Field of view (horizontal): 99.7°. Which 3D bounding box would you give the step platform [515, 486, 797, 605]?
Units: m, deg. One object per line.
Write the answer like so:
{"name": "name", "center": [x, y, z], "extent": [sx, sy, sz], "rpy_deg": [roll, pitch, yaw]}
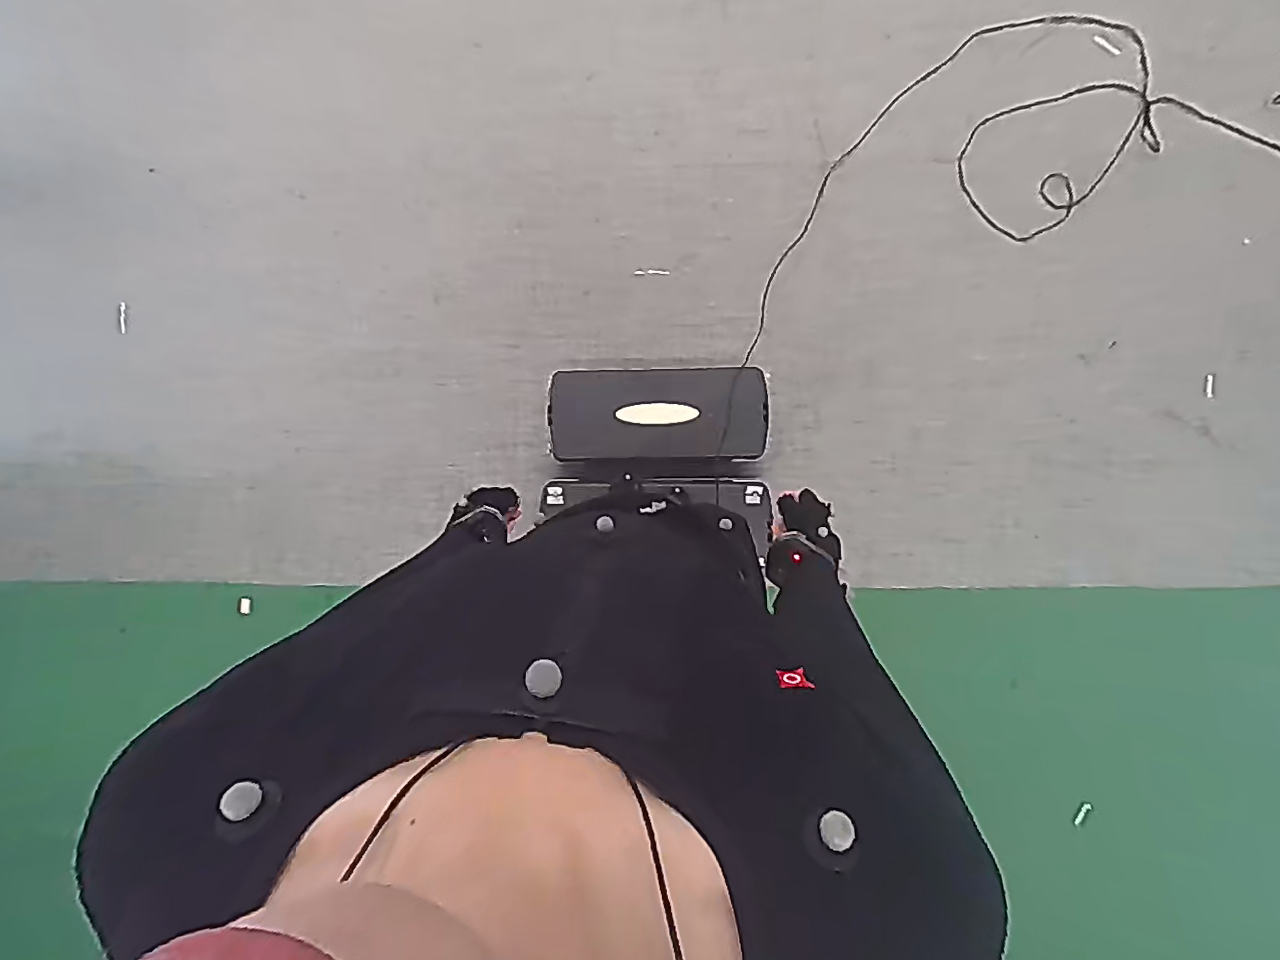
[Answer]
{"name": "step platform", "center": [0.038, 0.161, 1.393], "extent": [0.684, 0.204, 0.286], "rpy_deg": [0, 89, 1]}
